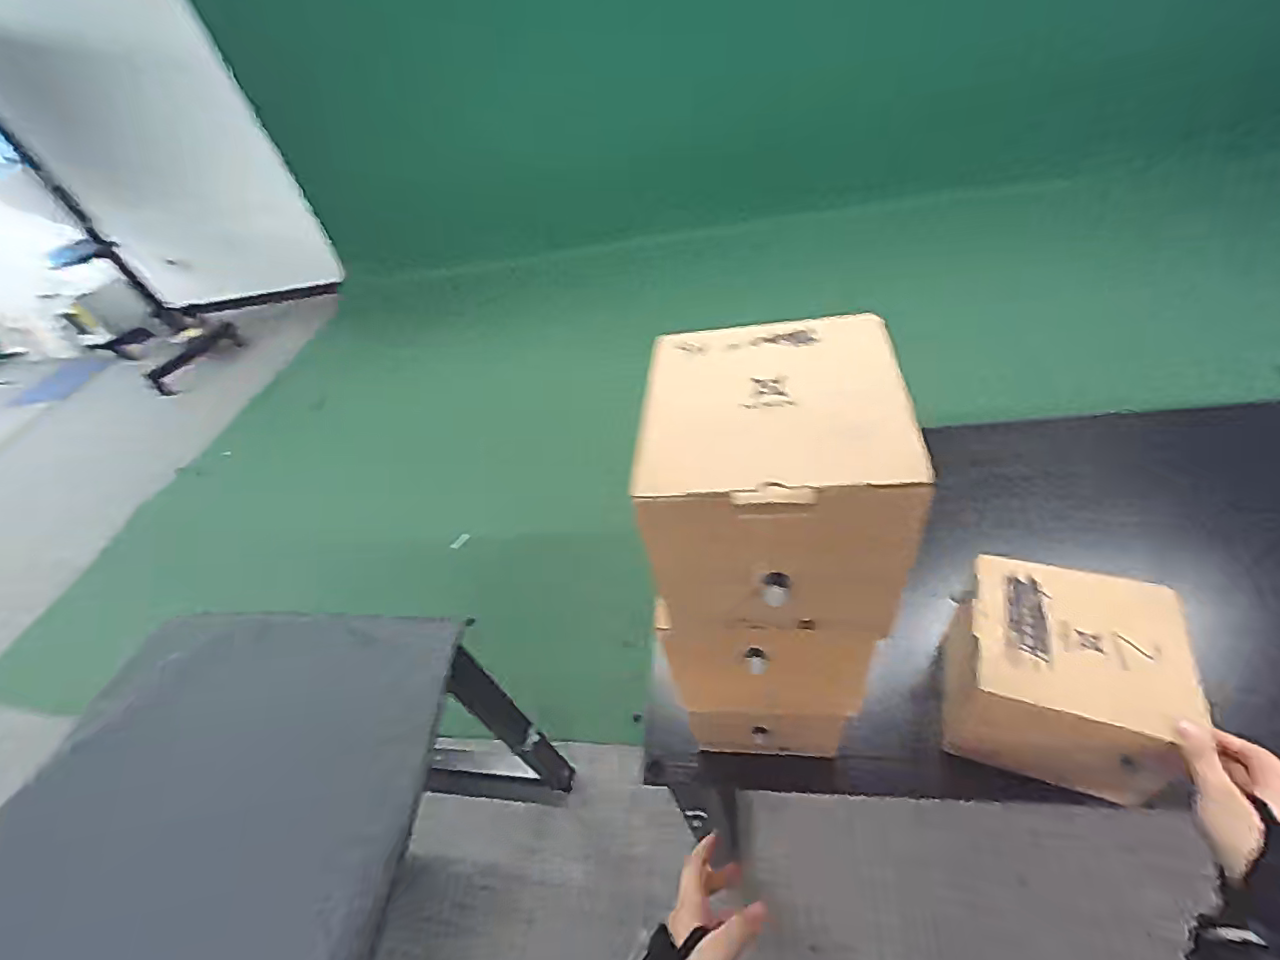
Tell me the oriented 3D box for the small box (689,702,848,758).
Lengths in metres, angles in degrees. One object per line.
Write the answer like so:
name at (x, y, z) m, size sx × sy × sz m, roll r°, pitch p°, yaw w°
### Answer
small box at (0.154, 0.217, 0.653) m, size 0.168 × 0.176 × 0.179 m, roll -3°, pitch 45°, yaw 12°

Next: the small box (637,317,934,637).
small box at (0.104, 0.004, 0.410) m, size 0.168 × 0.176 × 0.179 m, roll -3°, pitch 47°, yaw 14°

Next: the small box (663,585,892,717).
small box at (0.127, 0.117, 0.528) m, size 0.179 × 0.176 × 0.168 m, roll -4°, pitch 46°, yaw 12°
